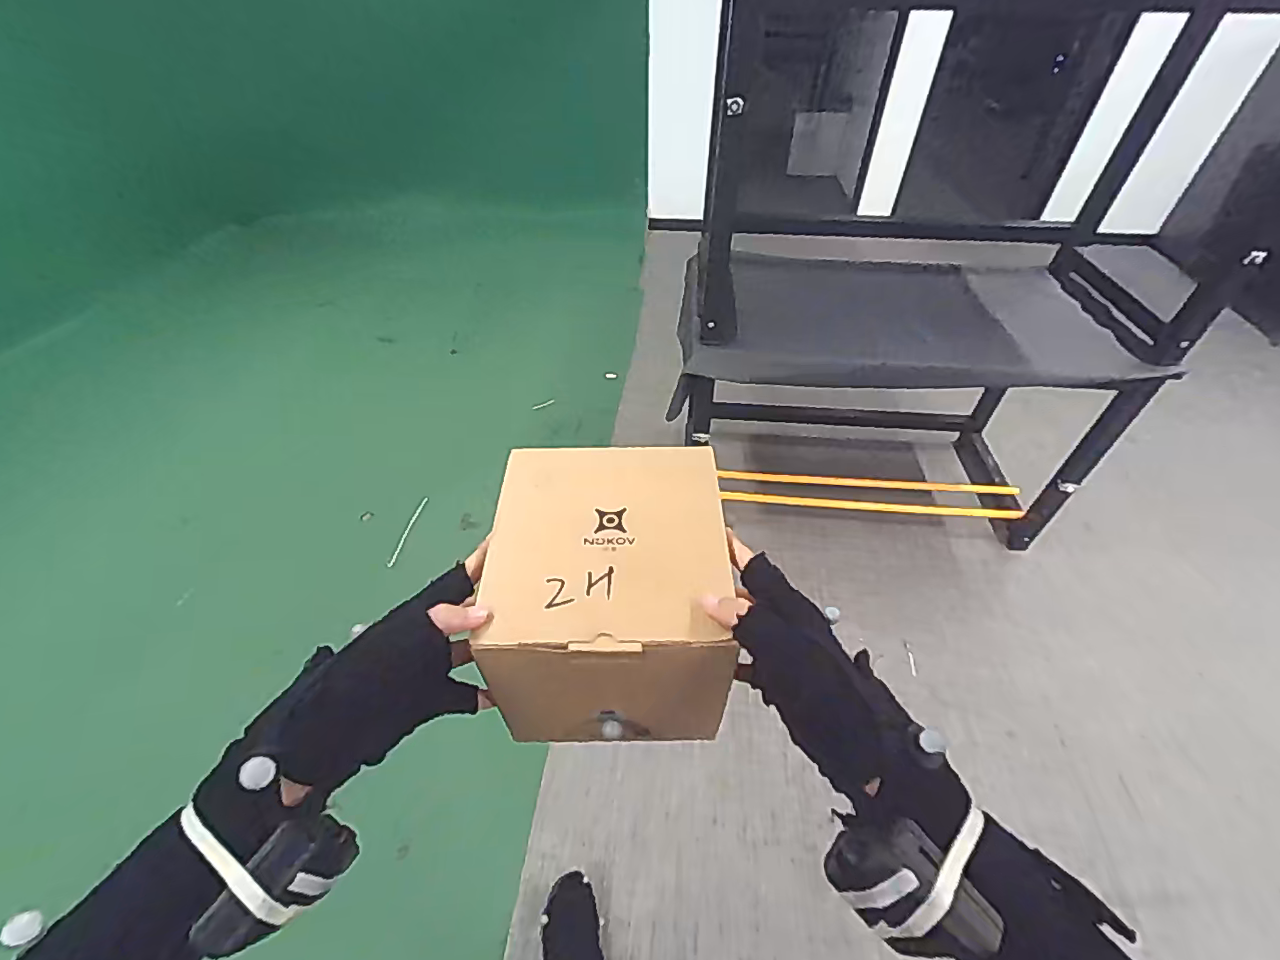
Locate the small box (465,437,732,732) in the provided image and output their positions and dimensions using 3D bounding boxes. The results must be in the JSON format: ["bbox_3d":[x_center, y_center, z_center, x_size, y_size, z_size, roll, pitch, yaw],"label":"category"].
[{"bbox_3d":[-0.024,0.083,0.440,0.168,0.176,0.179,-1,45,1],"label":"small box"}]
